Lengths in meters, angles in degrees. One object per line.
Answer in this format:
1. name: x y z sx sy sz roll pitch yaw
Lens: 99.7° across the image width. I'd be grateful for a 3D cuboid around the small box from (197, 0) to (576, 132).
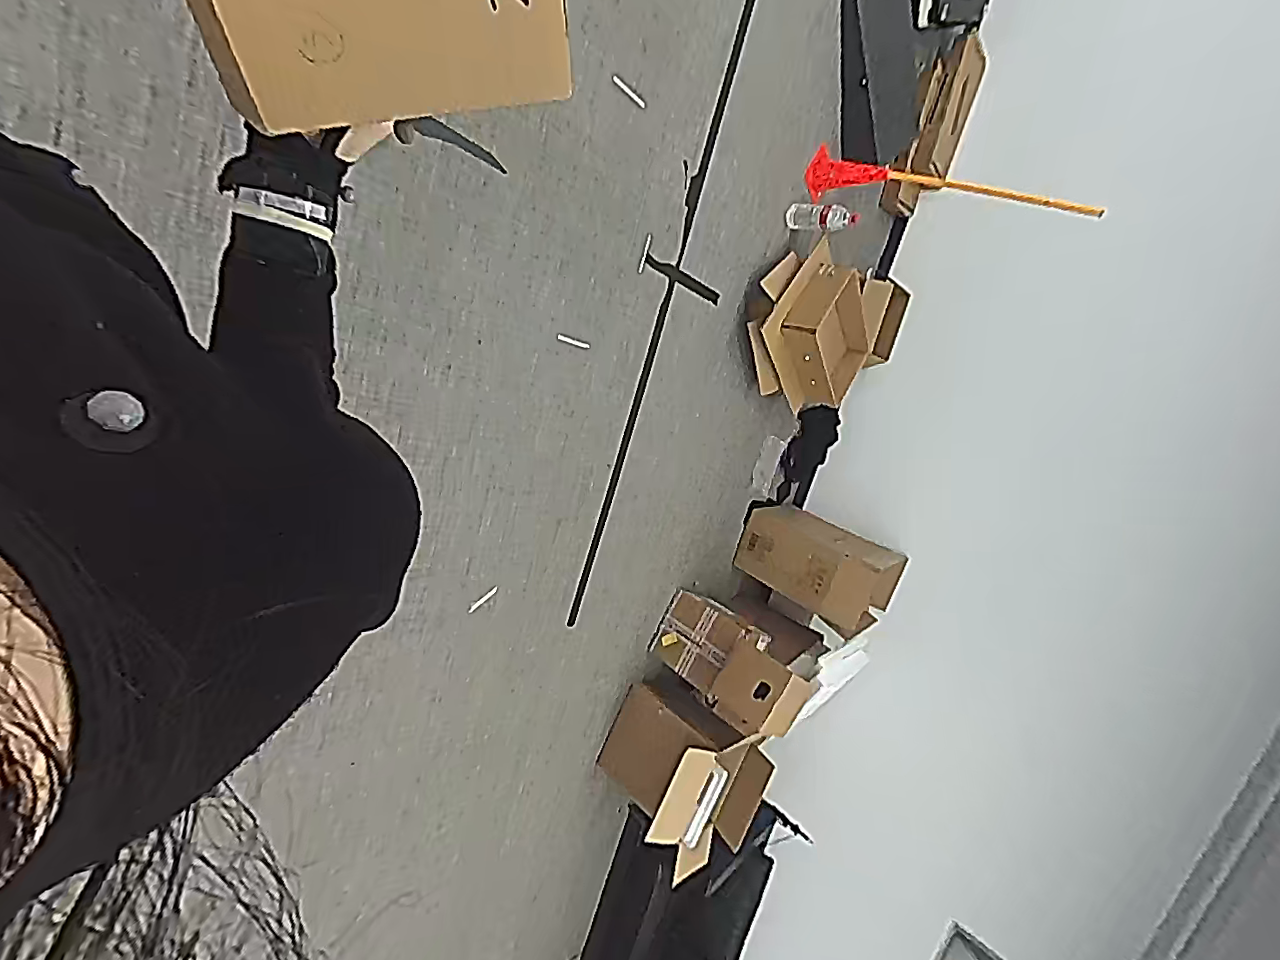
1. small box: -0.160 -0.306 0.303 0.179 0.176 0.168 -27 136 -25
